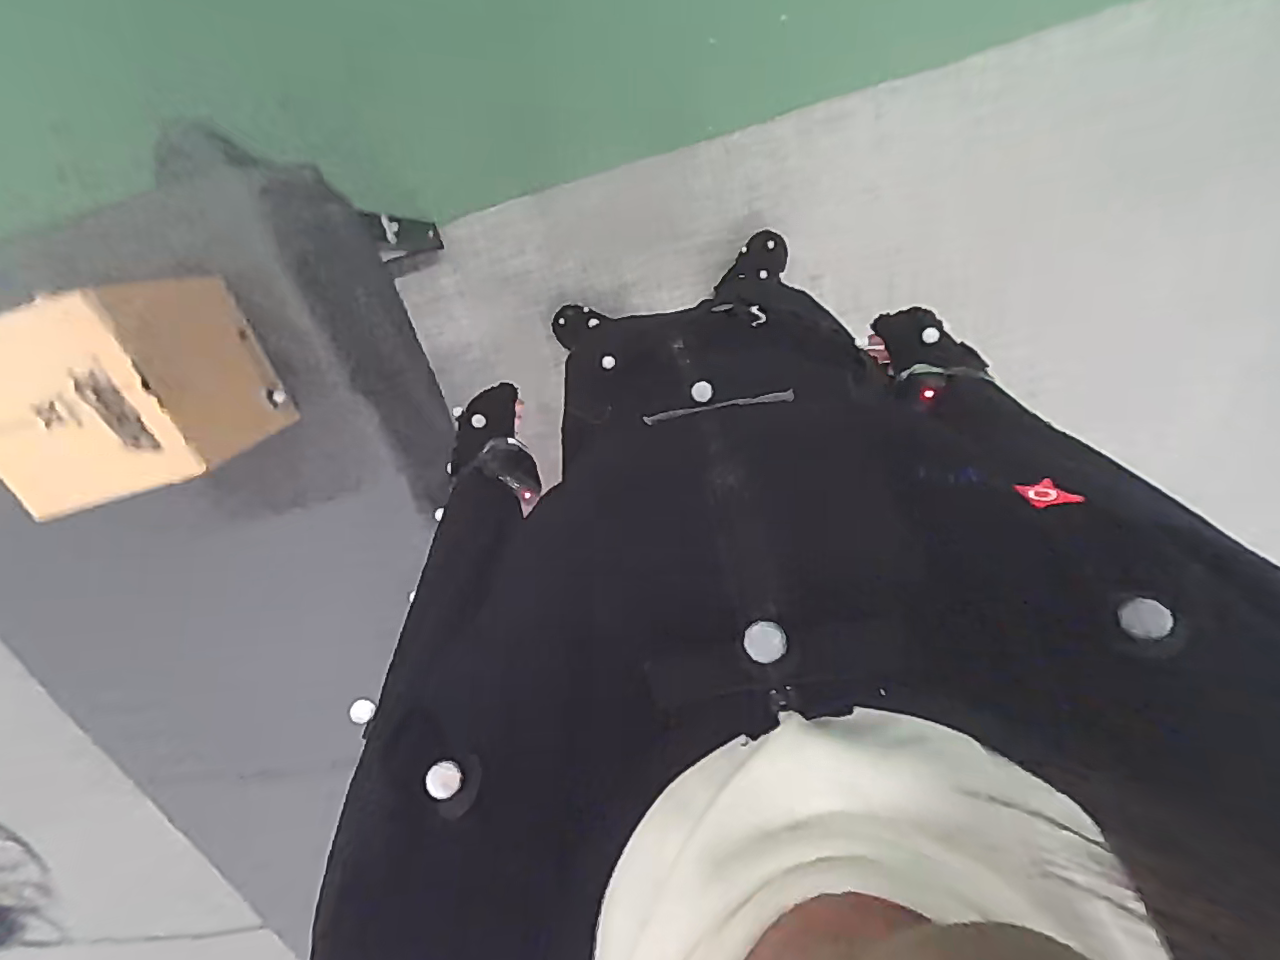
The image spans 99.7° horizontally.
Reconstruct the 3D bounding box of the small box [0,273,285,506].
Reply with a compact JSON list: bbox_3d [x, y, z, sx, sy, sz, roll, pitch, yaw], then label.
[{"bbox_3d":[-0.502,-0.100,0.543,0.179,0.176,0.168,-15,114,5],"label":"small box"}]
